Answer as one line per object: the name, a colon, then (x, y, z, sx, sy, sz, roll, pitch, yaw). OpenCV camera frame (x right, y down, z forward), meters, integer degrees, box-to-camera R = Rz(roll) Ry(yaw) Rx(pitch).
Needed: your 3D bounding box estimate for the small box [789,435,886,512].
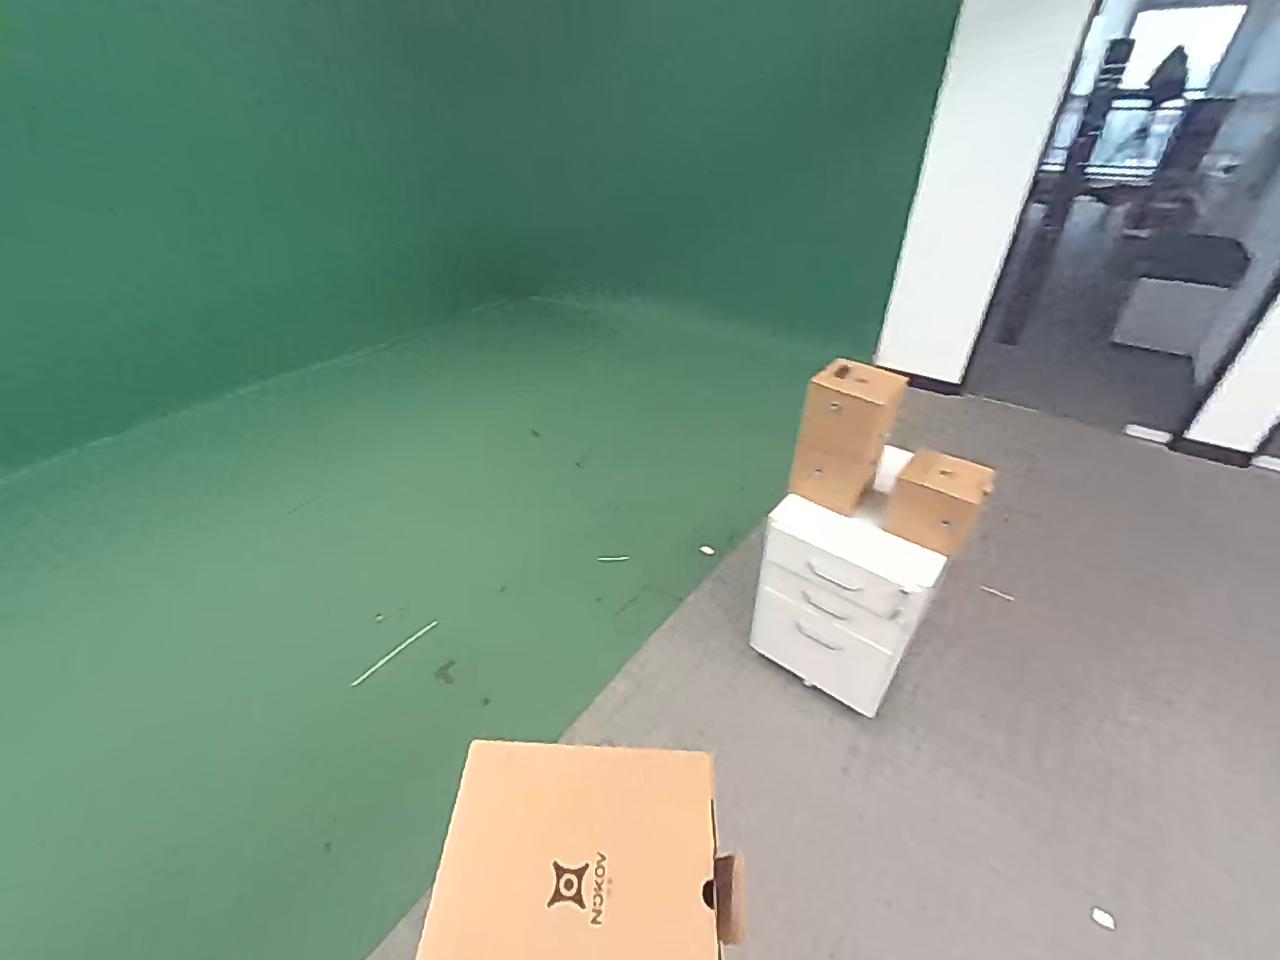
small box: (0.511, -0.044, 1.422, 0.179, 0.176, 0.168, 27, 46, 31)

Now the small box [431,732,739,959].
small box: (-0.028, 0.301, 0.387, 0.179, 0.176, 0.168, 3, 44, 2)

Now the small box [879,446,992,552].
small box: (0.702, 0.047, 1.297, 0.179, 0.176, 0.168, 24, 43, 33)

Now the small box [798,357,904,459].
small box: (0.510, -0.177, 1.324, 0.179, 0.176, 0.168, 27, 46, 30)
